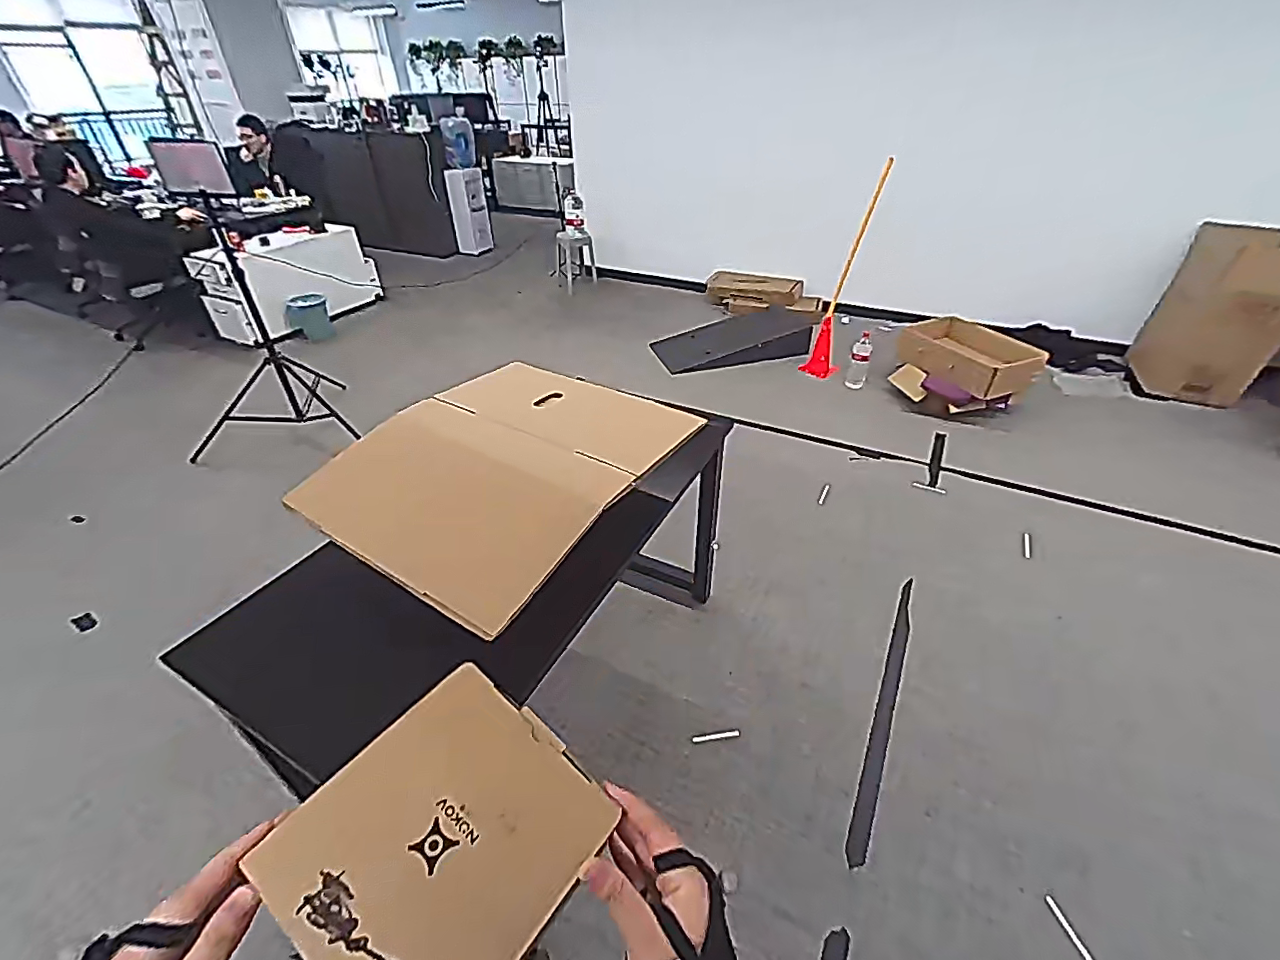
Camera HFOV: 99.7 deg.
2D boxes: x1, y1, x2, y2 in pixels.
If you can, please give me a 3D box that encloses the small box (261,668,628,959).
[{"bbox_3d":[-0.136,0.290,0.413,0.168,0.176,0.179,34,47,20],"label":"small box"}]
